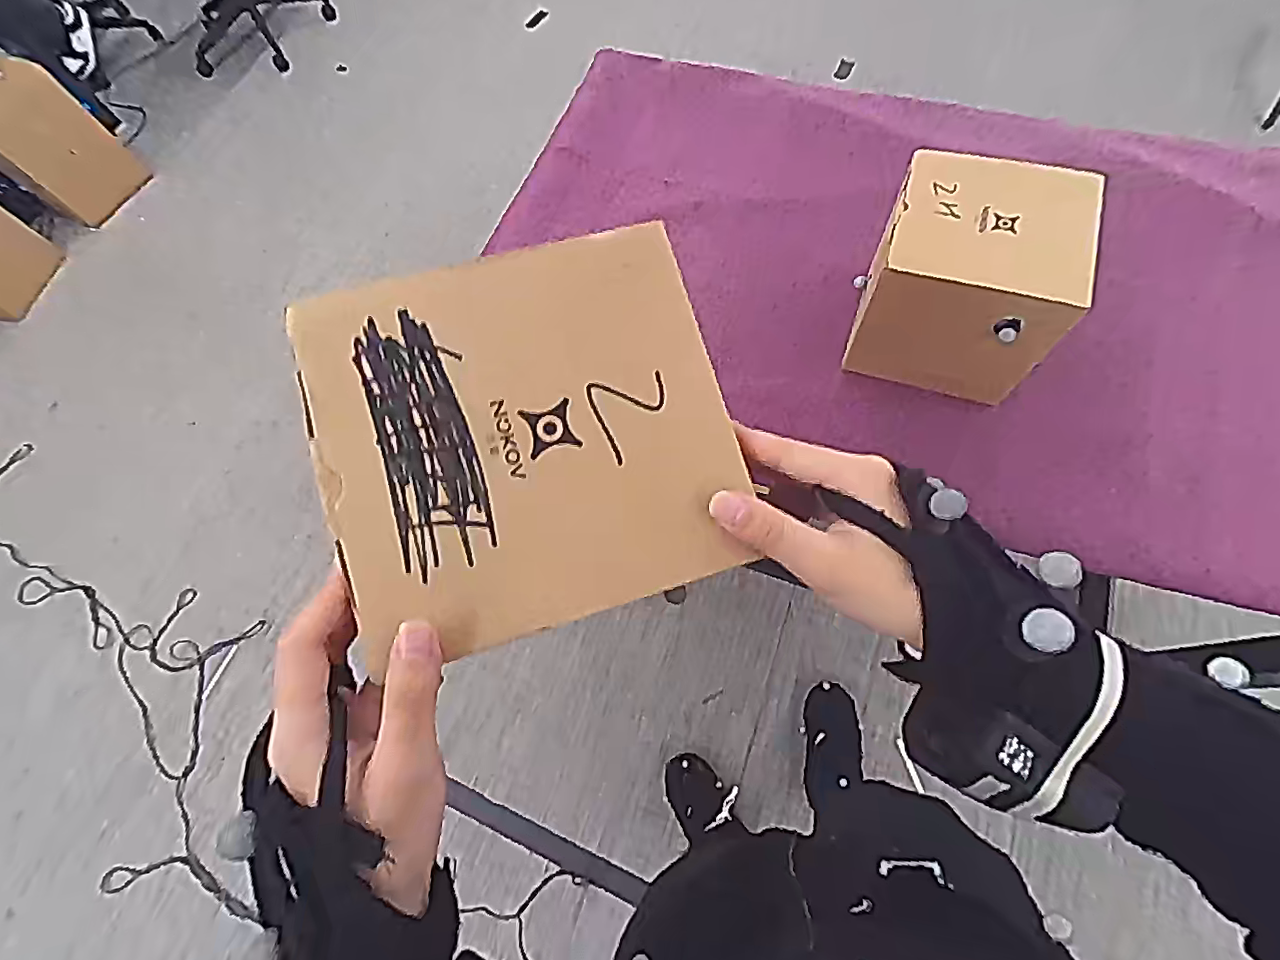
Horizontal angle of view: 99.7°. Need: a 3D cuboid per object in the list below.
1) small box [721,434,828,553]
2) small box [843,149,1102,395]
[{"bbox_3d":[0.283,0.036,1.165,0.168,0.176,0.179,23,73,15],"label":"small box"},{"bbox_3d":[0.343,-0.214,0.586,0.179,0.176,0.168,18,70,14],"label":"small box"}]
